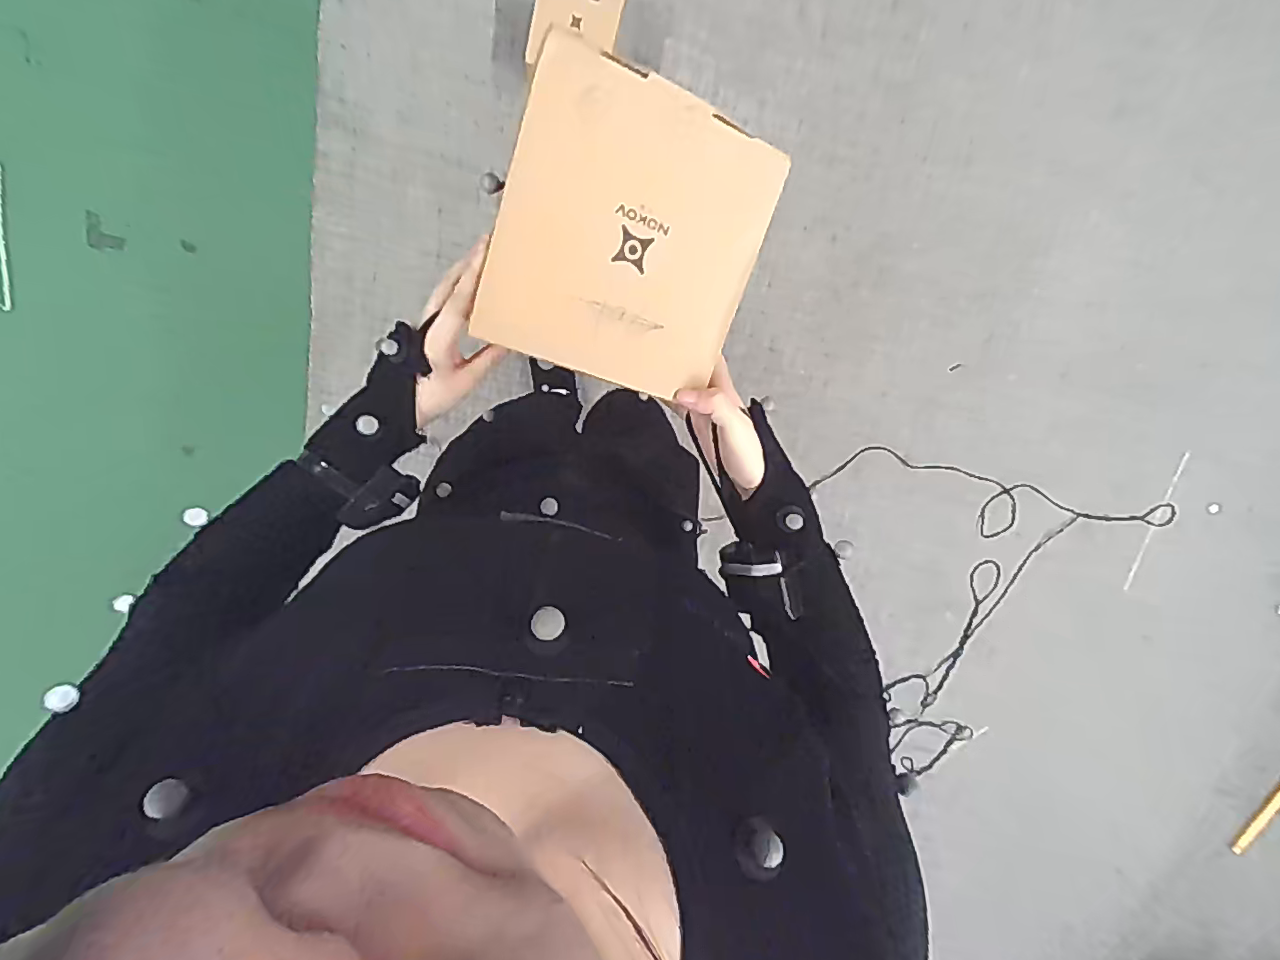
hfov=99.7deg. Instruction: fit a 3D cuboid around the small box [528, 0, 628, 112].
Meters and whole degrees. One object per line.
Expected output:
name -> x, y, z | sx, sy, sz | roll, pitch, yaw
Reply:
small box -> -0.127, -0.915, 1.138 | 0.168, 0.176, 0.179 | 14, 105, -9
